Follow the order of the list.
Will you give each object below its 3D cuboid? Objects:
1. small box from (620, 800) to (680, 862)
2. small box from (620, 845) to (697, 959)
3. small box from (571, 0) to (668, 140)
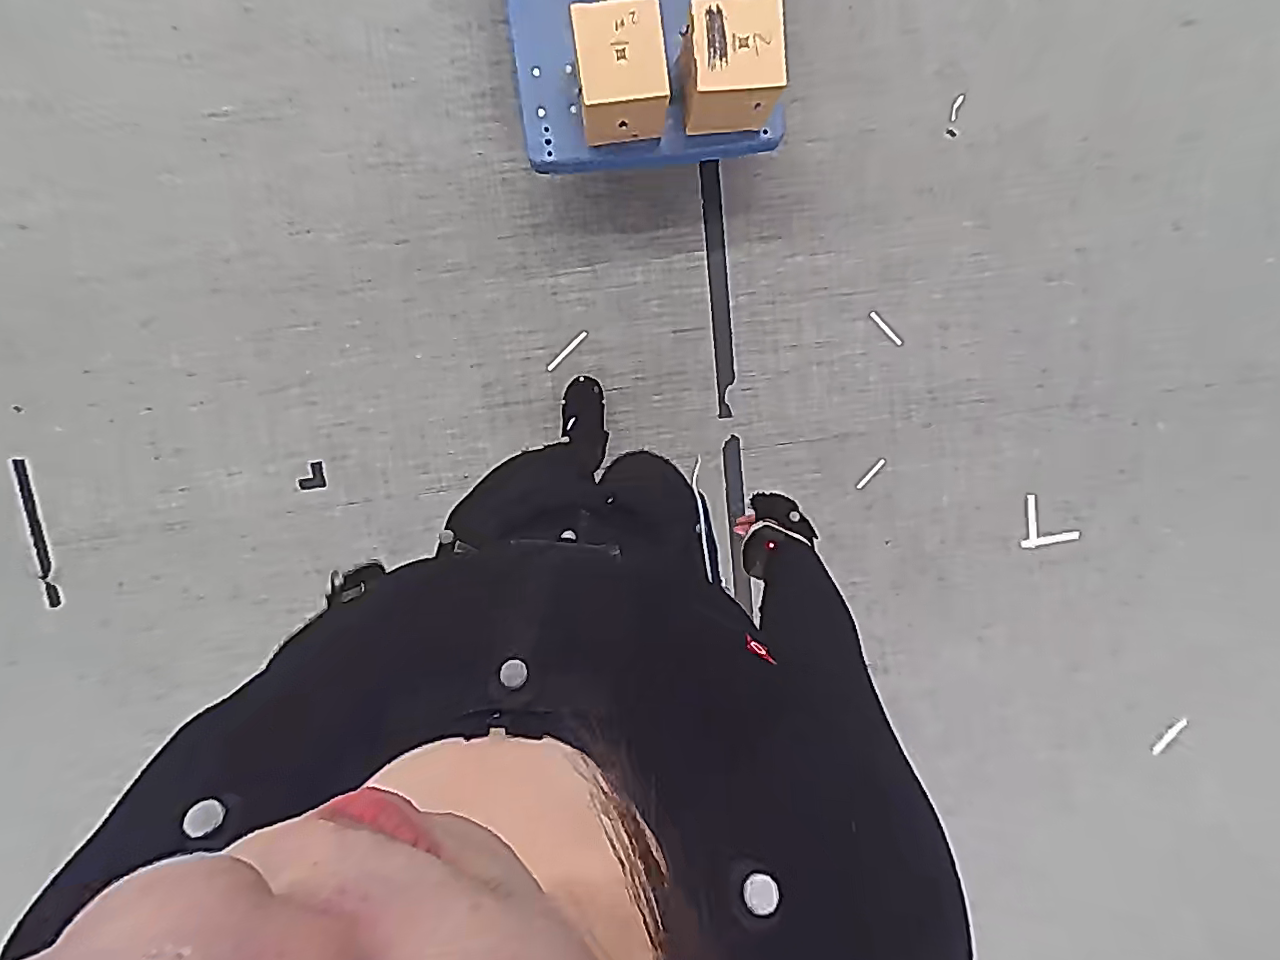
[{"bbox_3d":[0.032,1.075,1.571,0.168,0.176,0.179,-7,98,-3],"label":"small box"},{"bbox_3d":[0.043,1.096,1.409,0.179,0.176,0.168,-8,100,-2],"label":"small box"},{"bbox_3d":[-0.039,-0.813,1.086,0.168,0.176,0.179,-9,98,-2],"label":"small box"}]
